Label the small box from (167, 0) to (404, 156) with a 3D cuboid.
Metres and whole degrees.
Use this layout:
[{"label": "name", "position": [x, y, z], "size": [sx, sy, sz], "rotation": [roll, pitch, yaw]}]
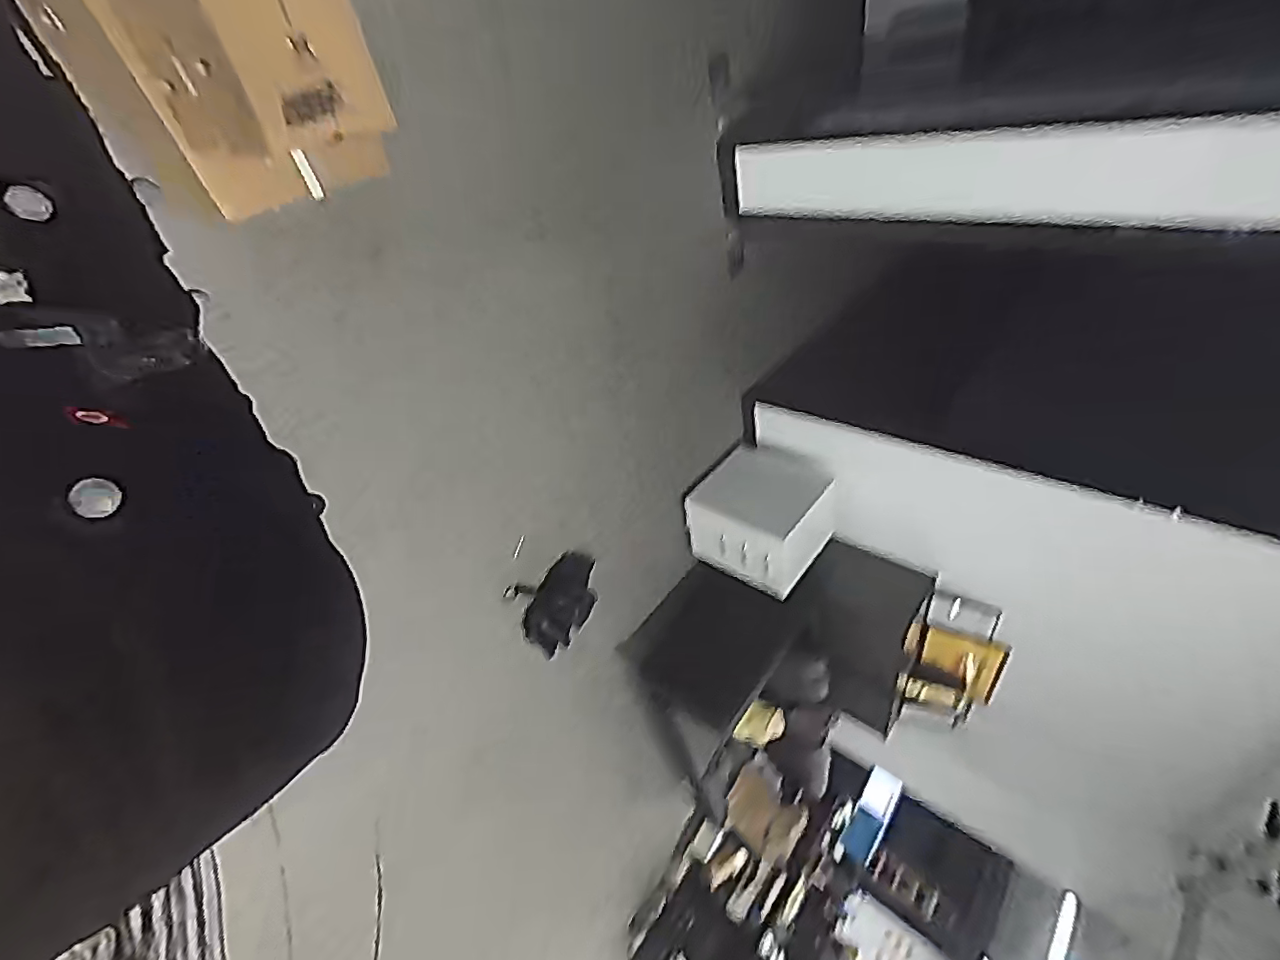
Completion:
[{"label": "small box", "position": [-0.439, -0.521, 0.679], "size": [0.168, 0.176, 0.179], "rotation": [-39, 134, -31]}]
